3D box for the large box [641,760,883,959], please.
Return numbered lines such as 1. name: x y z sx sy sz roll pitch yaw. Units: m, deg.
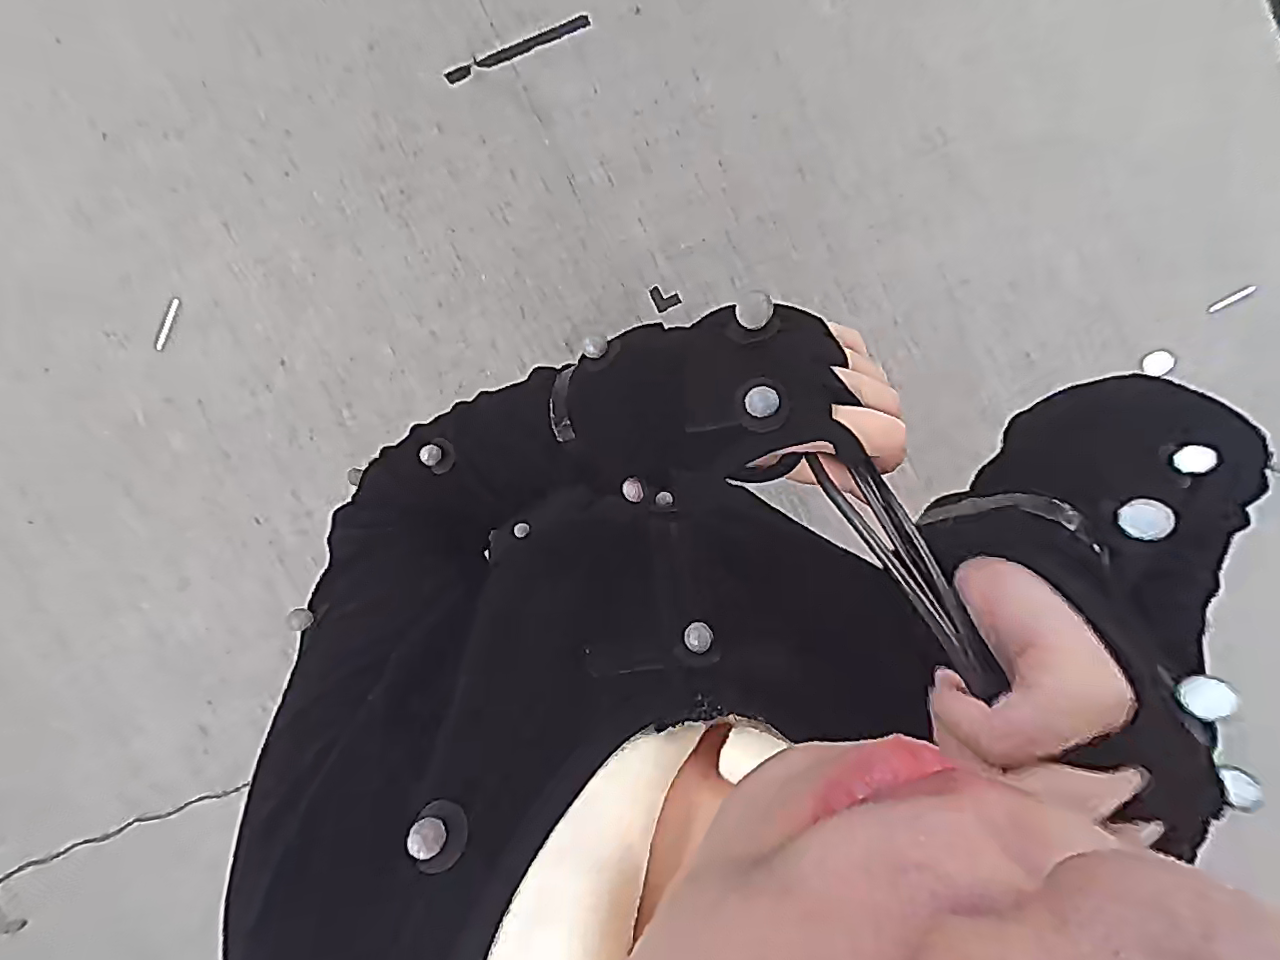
1. large box: 0.257 0.966 1.261 0.408 0.320 0.320 -39 96 0
